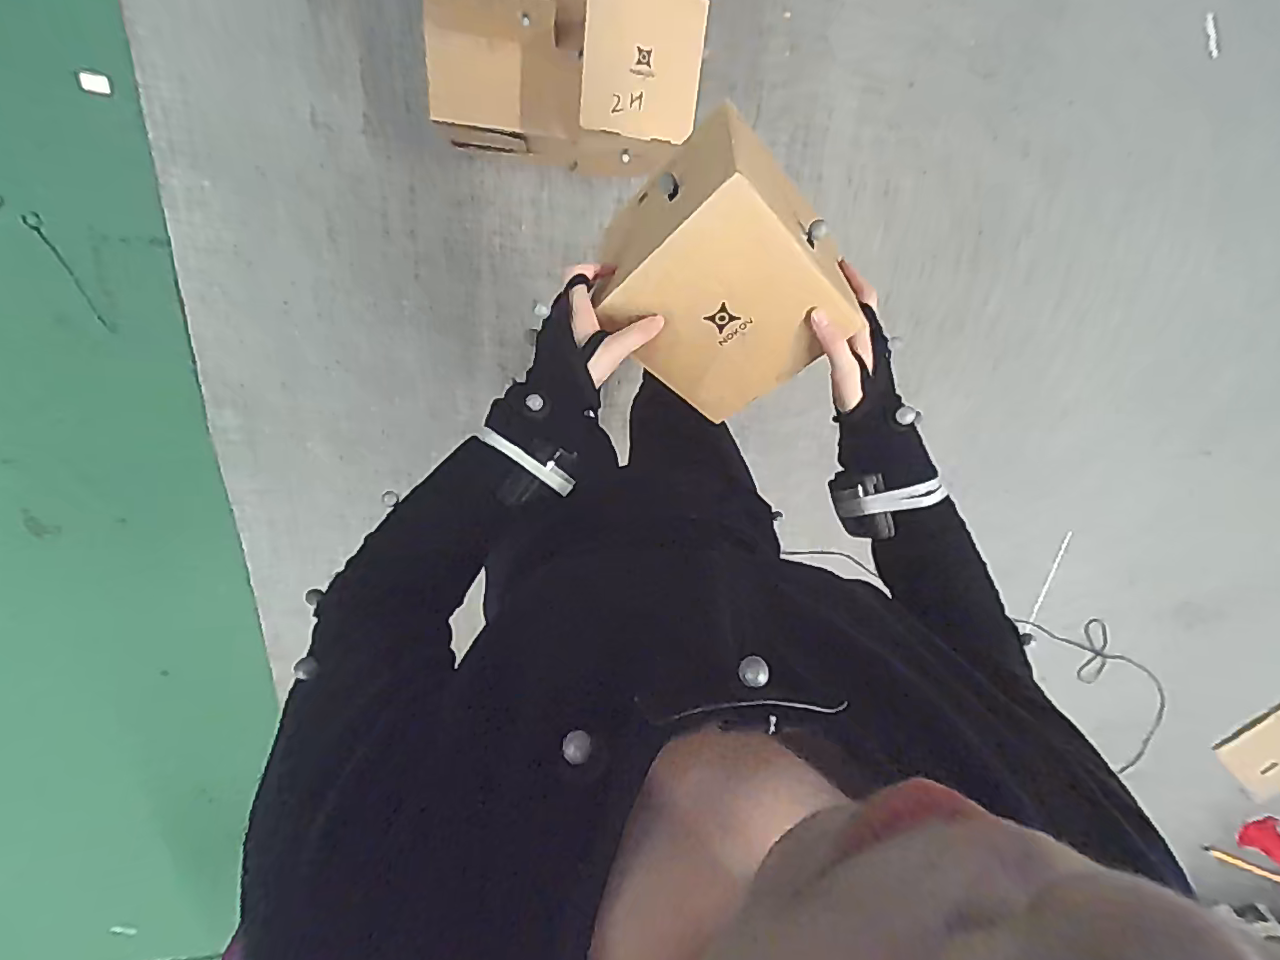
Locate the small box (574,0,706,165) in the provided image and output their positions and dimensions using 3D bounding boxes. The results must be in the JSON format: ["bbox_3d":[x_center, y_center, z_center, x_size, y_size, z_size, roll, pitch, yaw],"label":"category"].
[{"bbox_3d":[-0.011,-0.602,0.823,0.168,0.176,0.179,3,112,-10],"label":"small box"}]
